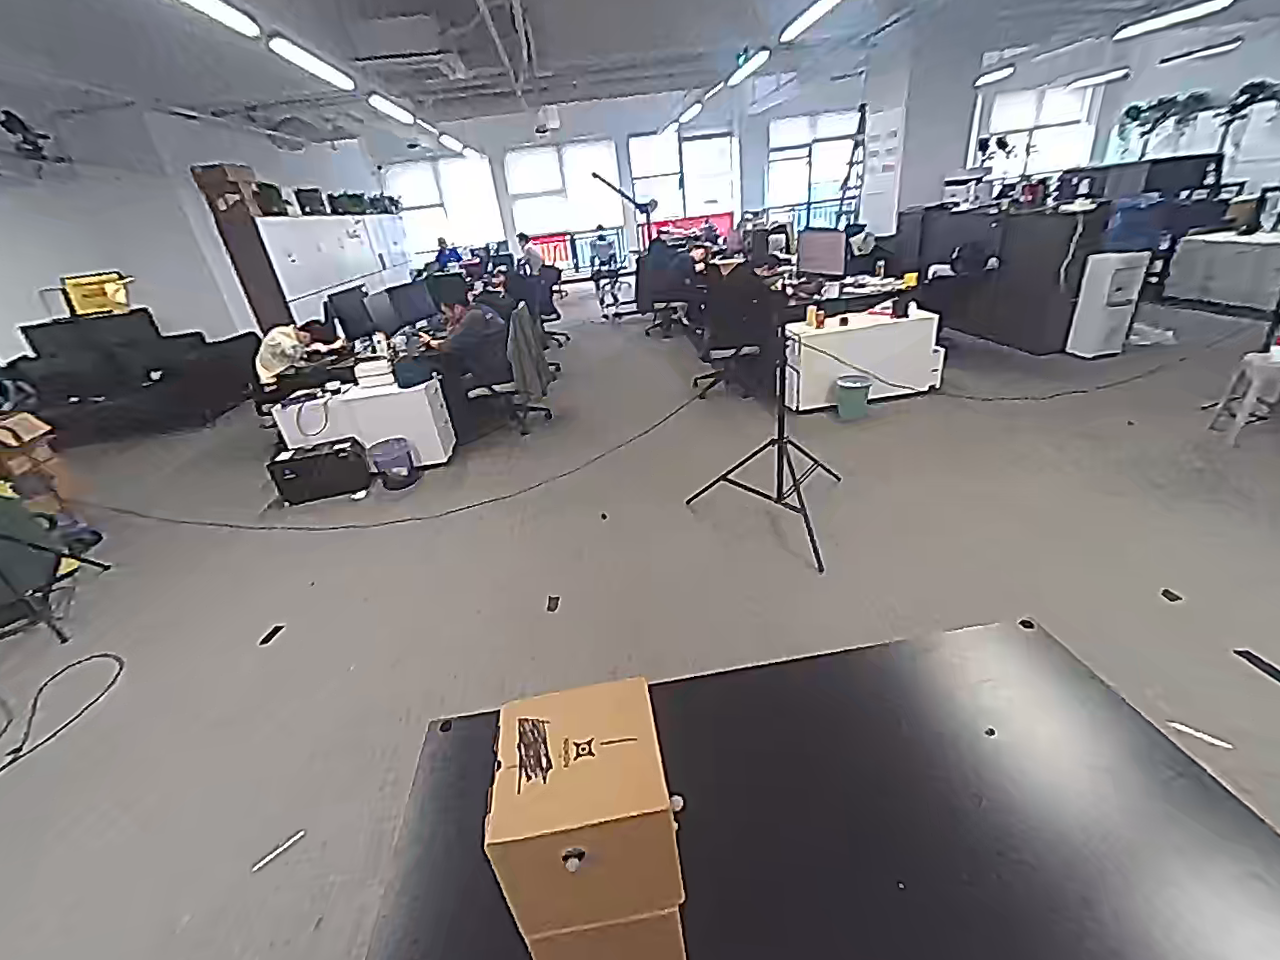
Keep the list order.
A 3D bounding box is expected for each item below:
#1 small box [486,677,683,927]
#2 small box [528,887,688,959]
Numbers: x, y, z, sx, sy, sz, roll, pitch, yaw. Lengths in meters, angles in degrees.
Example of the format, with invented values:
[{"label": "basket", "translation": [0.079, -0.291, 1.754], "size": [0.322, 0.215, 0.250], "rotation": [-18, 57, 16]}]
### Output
[{"label": "small box", "translation": [-0.057, 0.358, 0.609], "size": [0.179, 0.176, 0.168], "rotation": [-9, 27, -4]}, {"label": "small box", "translation": [-0.038, 0.503, 0.685], "size": [0.168, 0.176, 0.179], "rotation": [-10, 28, -3]}]
